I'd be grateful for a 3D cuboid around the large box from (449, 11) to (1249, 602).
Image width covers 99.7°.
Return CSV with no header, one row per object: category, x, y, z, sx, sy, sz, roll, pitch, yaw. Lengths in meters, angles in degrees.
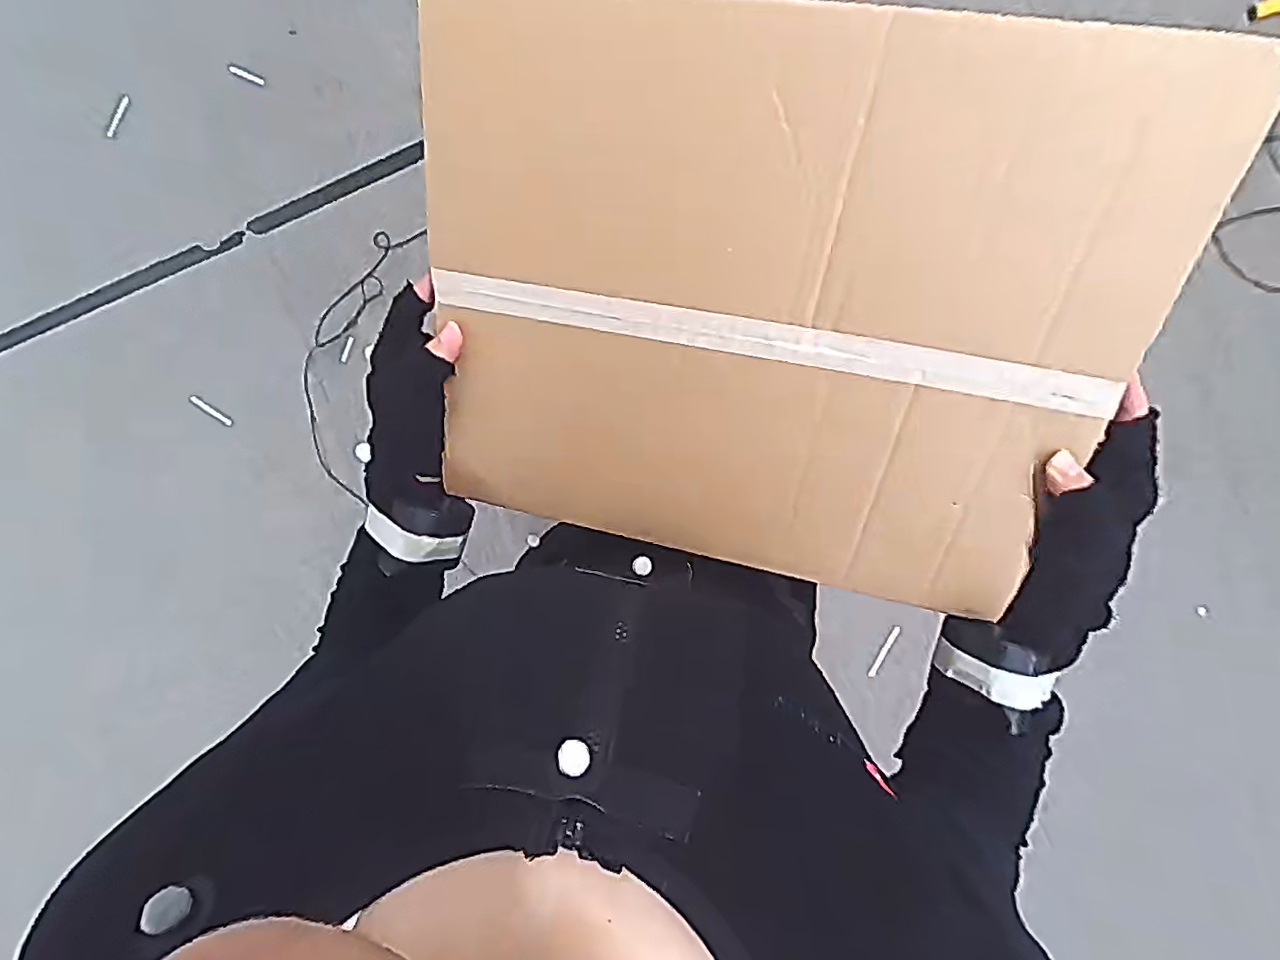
large box,0.098,-0.148,0.470,0.408,0.320,0.320,12,118,8
